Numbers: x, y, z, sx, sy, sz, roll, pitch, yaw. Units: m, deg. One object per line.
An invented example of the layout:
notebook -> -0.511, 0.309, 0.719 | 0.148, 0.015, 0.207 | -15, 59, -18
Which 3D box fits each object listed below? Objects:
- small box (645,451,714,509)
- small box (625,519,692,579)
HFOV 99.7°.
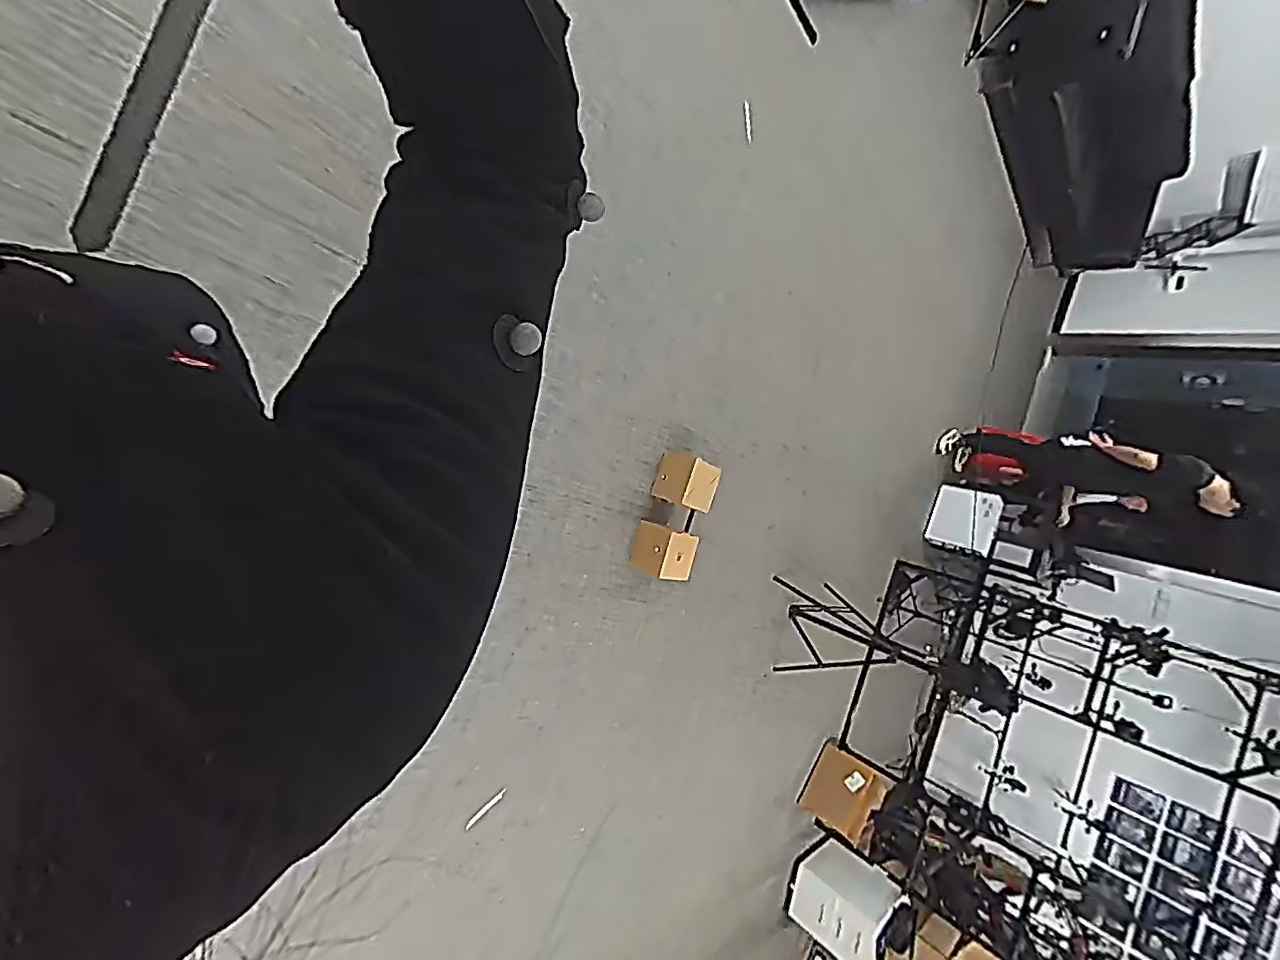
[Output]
small box -> 0.151, 0.004, 2.045 | 0.168, 0.176, 0.179 | 22, 86, -45
small box -> 0.065, 0.260, 2.040 | 0.168, 0.176, 0.179 | 15, 90, -45
